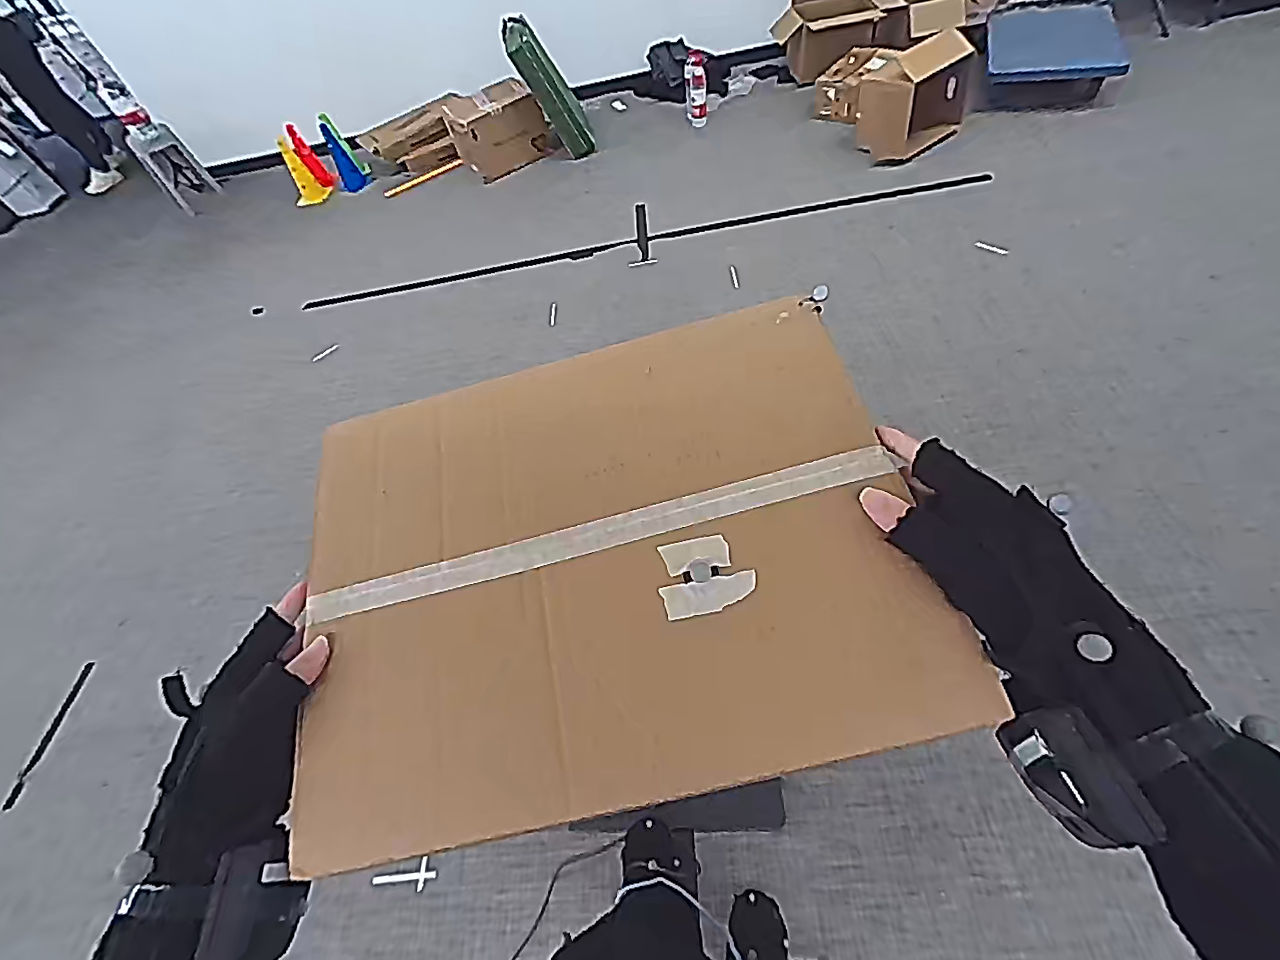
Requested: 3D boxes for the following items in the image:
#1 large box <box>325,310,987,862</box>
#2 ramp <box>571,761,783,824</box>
[{"bbox_3d":[-0.003,0.109,0.509,0.408,0.320,0.320,-15,63,3],"label":"large box"},{"bbox_3d":[0.064,0.320,1.429,0.509,0.206,0.991,-6,54,6],"label":"ramp"}]
